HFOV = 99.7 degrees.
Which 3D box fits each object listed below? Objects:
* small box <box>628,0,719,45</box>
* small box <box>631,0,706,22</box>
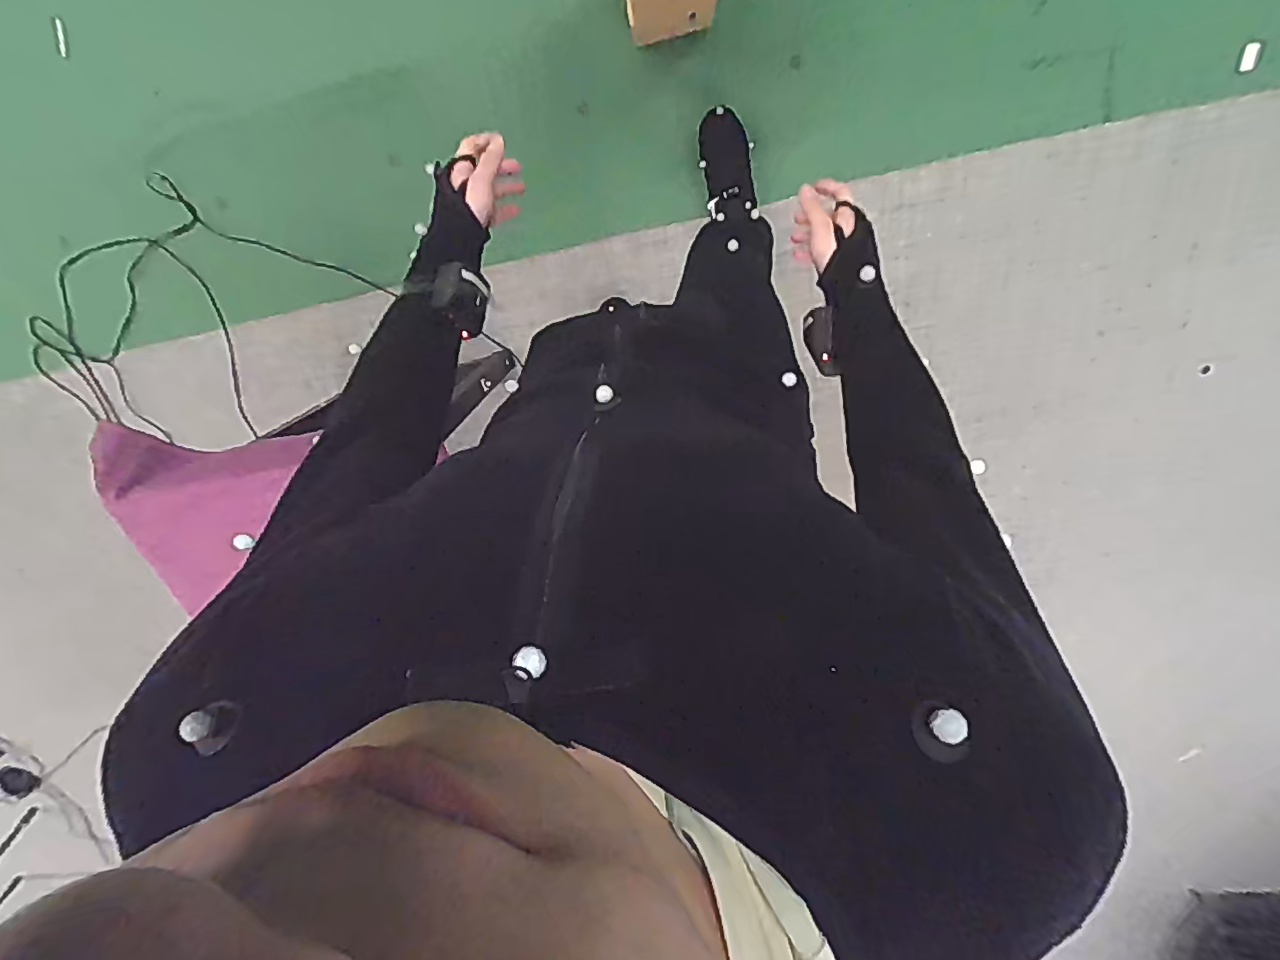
[{"bbox_3d":[0.058,-1.026,1.102,0.179,0.176,0.168,-9,116,8],"label":"small box"},{"bbox_3d":[0.054,-0.956,0.955,0.179,0.176,0.168,-11,116,10],"label":"small box"}]
